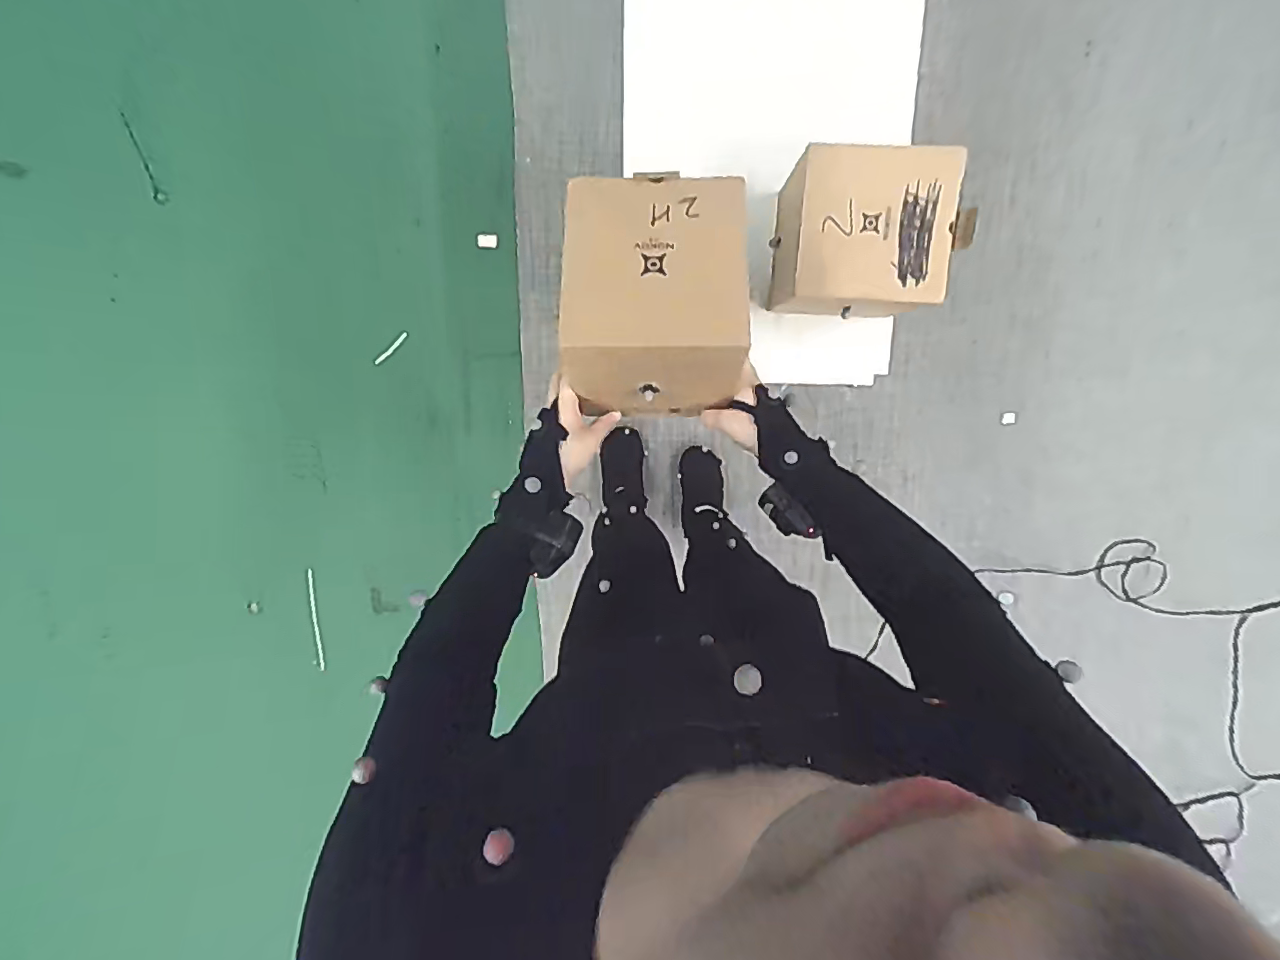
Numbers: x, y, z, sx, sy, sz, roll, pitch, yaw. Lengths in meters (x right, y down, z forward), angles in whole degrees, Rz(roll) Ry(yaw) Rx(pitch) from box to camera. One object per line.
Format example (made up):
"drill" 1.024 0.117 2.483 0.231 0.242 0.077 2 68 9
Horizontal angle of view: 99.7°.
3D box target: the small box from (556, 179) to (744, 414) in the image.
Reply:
"small box" 0.014 -0.177 0.561 0.168 0.176 0.179 2 75 2
